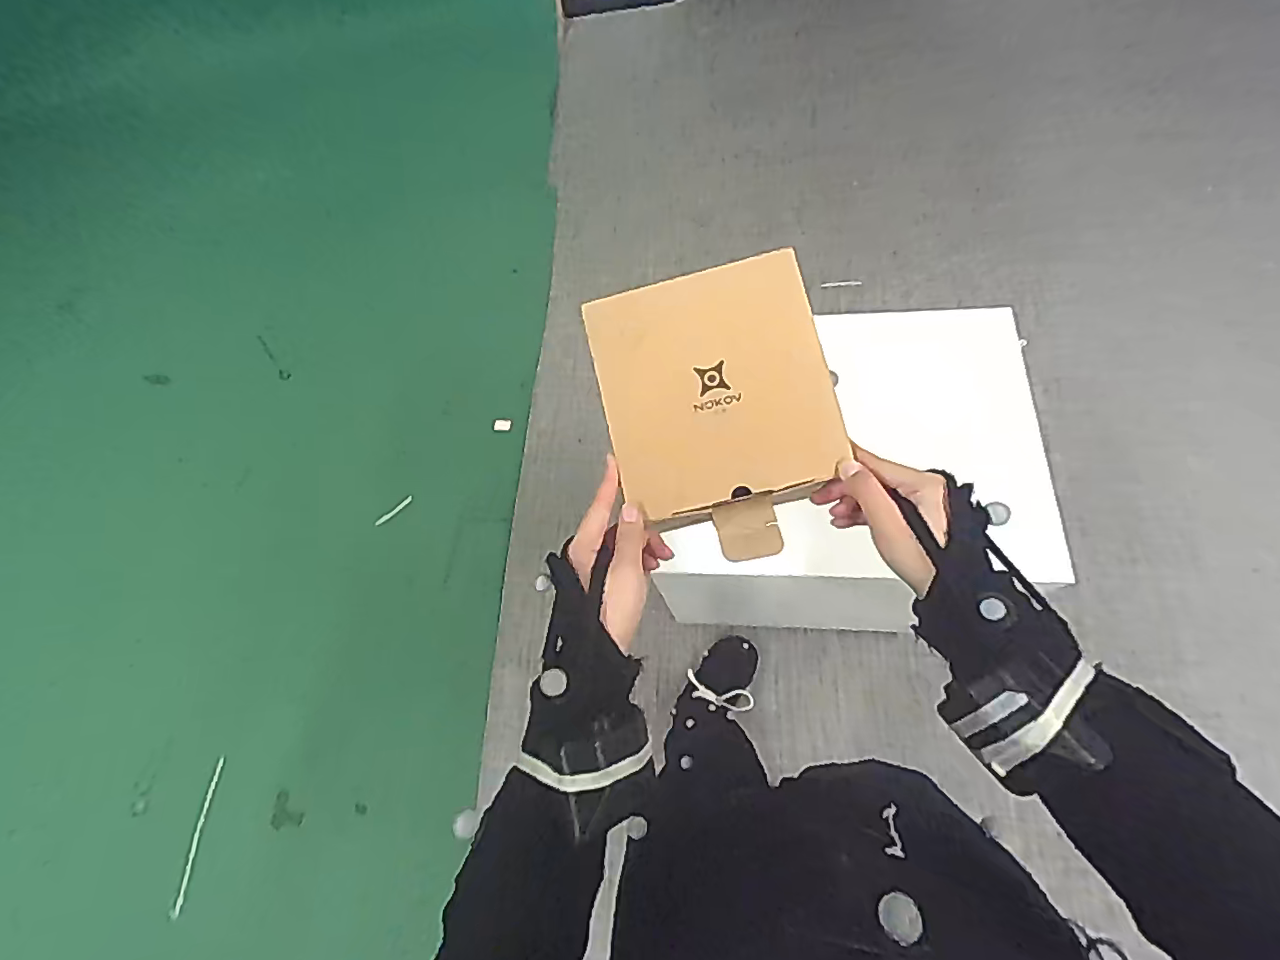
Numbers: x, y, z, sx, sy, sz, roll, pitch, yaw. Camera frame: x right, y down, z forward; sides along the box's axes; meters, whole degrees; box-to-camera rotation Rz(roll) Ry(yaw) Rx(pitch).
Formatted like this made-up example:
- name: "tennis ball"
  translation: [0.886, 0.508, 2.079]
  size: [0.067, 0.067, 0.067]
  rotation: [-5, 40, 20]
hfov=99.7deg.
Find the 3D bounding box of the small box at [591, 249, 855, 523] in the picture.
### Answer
- name: "small box"
  translation: [0.062, -0.064, 0.476]
  size: [0.168, 0.176, 0.179]
  rotation: [-13, 83, 3]
